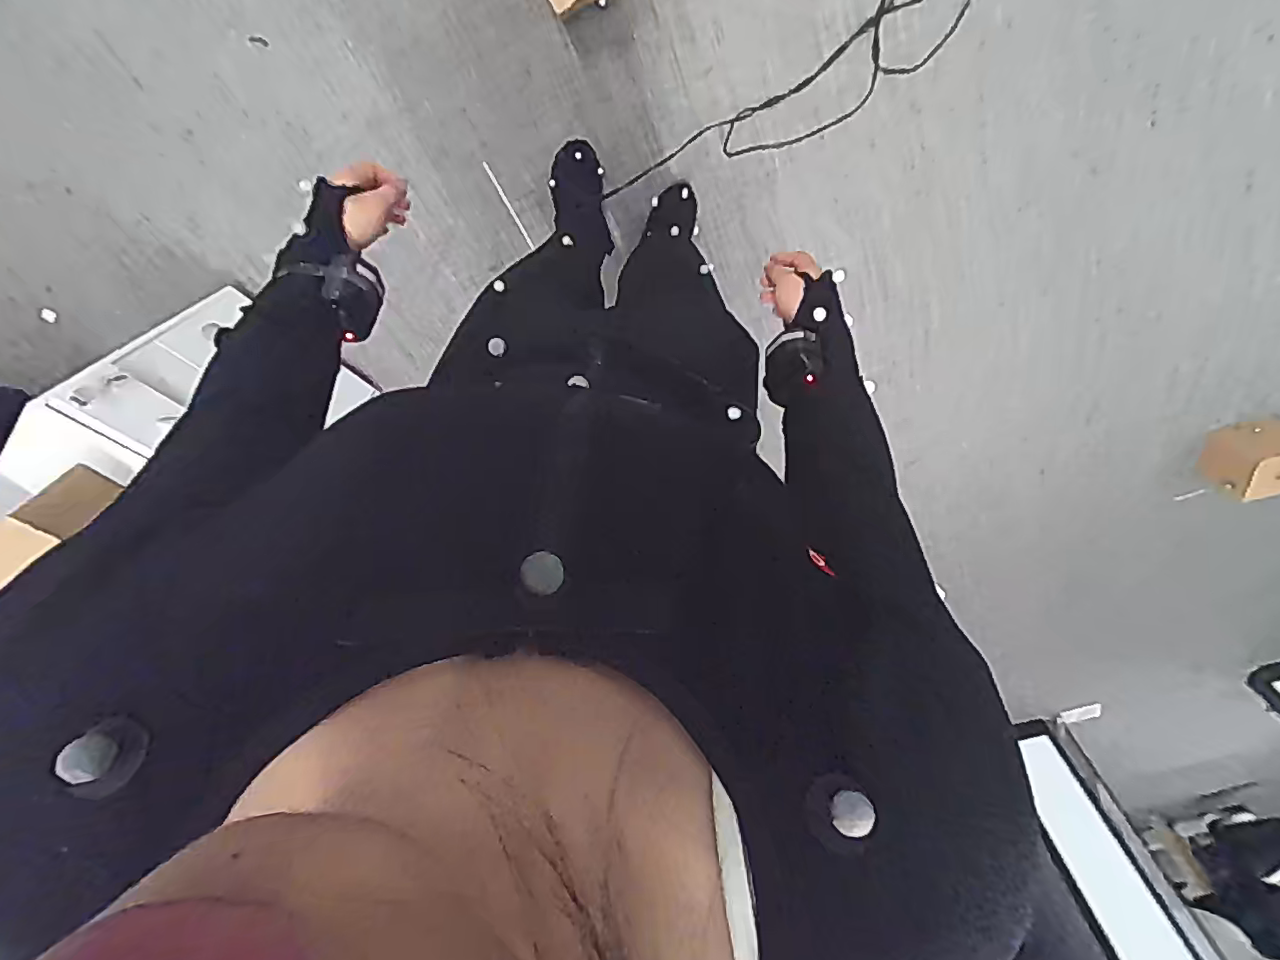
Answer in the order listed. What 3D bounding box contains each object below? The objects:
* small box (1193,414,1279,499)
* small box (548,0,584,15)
[{"bbox_3d":[1.891,-0.075,1.679,0.168,0.176,0.179,-16,127,9],"label":"small box"},{"bbox_3d":[-0.111,-0.918,0.896,0.168,0.176,0.179,-23,127,14],"label":"small box"}]
